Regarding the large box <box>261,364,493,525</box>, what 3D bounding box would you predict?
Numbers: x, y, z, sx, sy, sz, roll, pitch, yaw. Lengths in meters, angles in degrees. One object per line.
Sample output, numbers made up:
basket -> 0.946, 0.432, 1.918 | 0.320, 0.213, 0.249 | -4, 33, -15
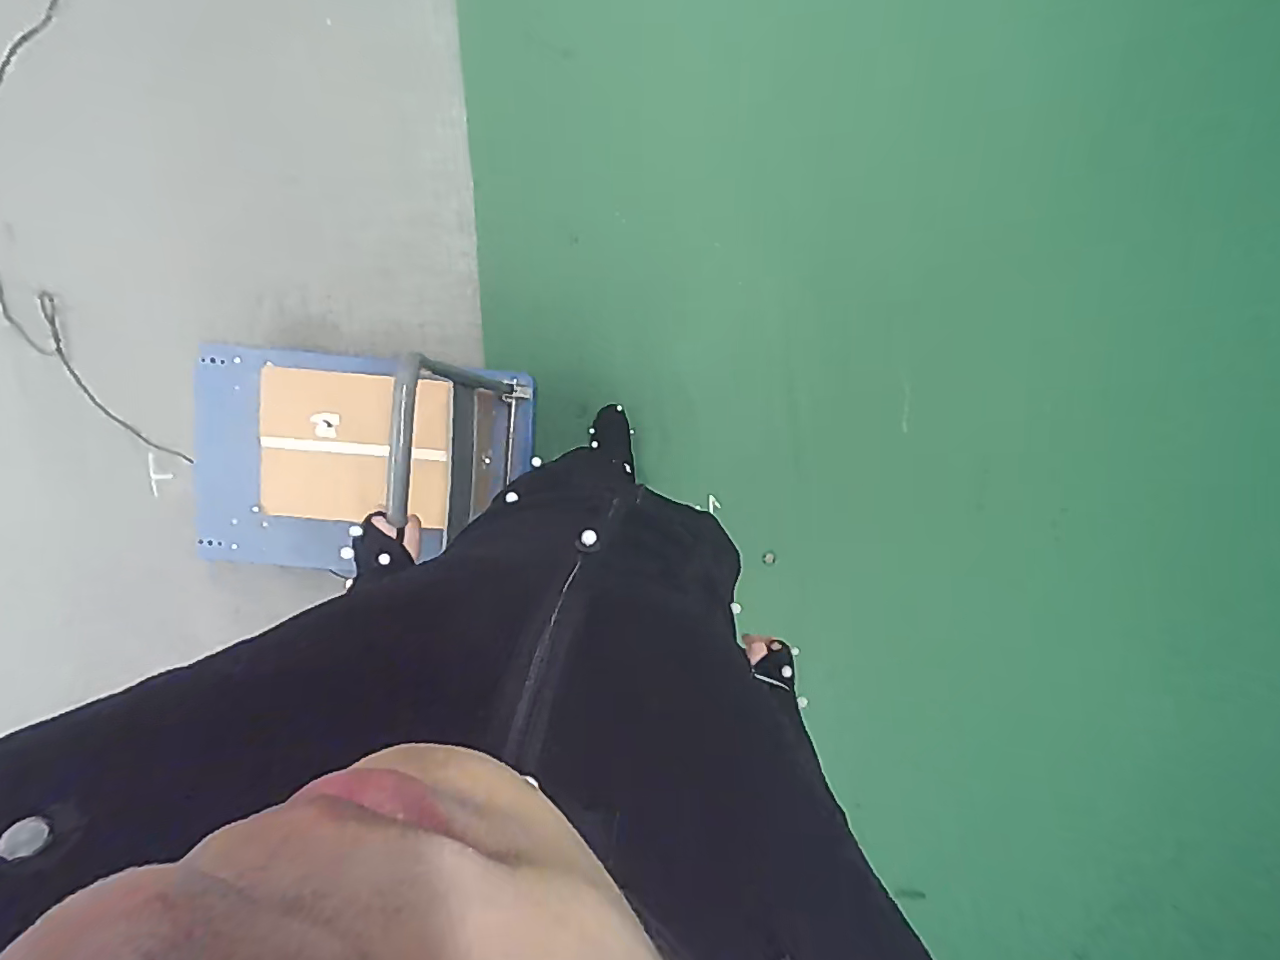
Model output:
large box -> -0.583, -0.088, 1.267 | 0.408, 0.320, 0.320 | 5, 95, -2
